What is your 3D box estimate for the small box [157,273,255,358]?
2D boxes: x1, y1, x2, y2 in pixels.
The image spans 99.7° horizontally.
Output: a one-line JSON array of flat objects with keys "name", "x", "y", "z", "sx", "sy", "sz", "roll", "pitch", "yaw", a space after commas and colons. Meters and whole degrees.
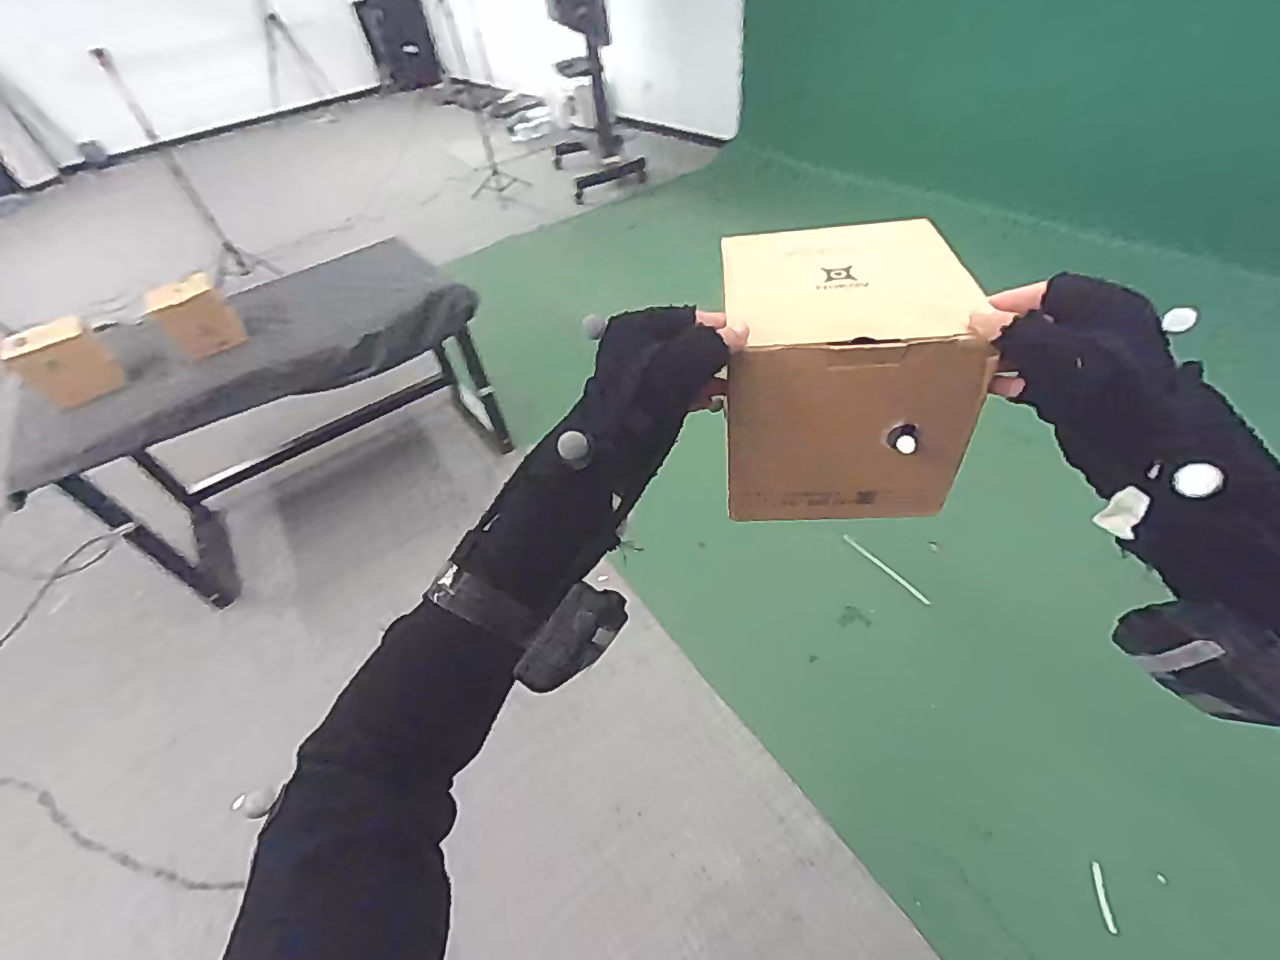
[{"name": "small box", "x": -1.290, "y": -0.486, "z": 1.614, "sx": 0.168, "sy": 0.176, "sz": 0.179, "roll": -31, "pitch": 50, "yaw": -19}]

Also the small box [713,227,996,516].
[{"name": "small box", "x": 0.147, "y": -0.083, "z": 0.443, "sx": 0.168, "sy": 0.176, "sz": 0.179, "roll": -2, "pitch": 44, "yaw": 7}]

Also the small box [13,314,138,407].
[{"name": "small box", "x": -1.562, "y": -0.329, "z": 1.506, "sx": 0.179, "sy": 0.176, "sz": 0.168, "roll": -32, "pitch": 50, "yaw": -22}]
